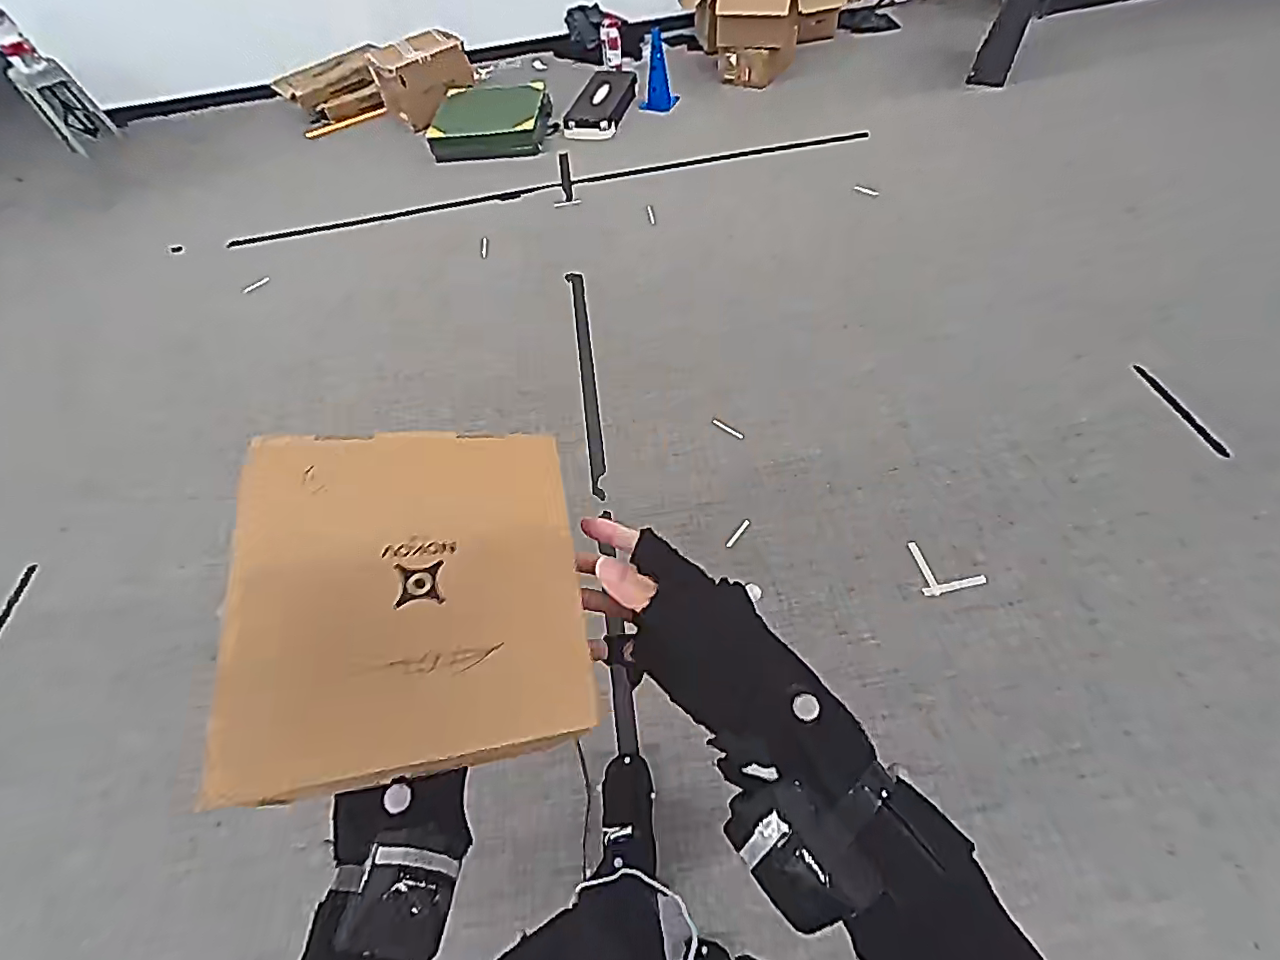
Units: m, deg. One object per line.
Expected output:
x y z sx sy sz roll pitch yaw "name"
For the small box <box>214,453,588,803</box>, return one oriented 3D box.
-0.141 0.099 0.358 0.168 0.176 0.179 -3 62 -19 "small box"
